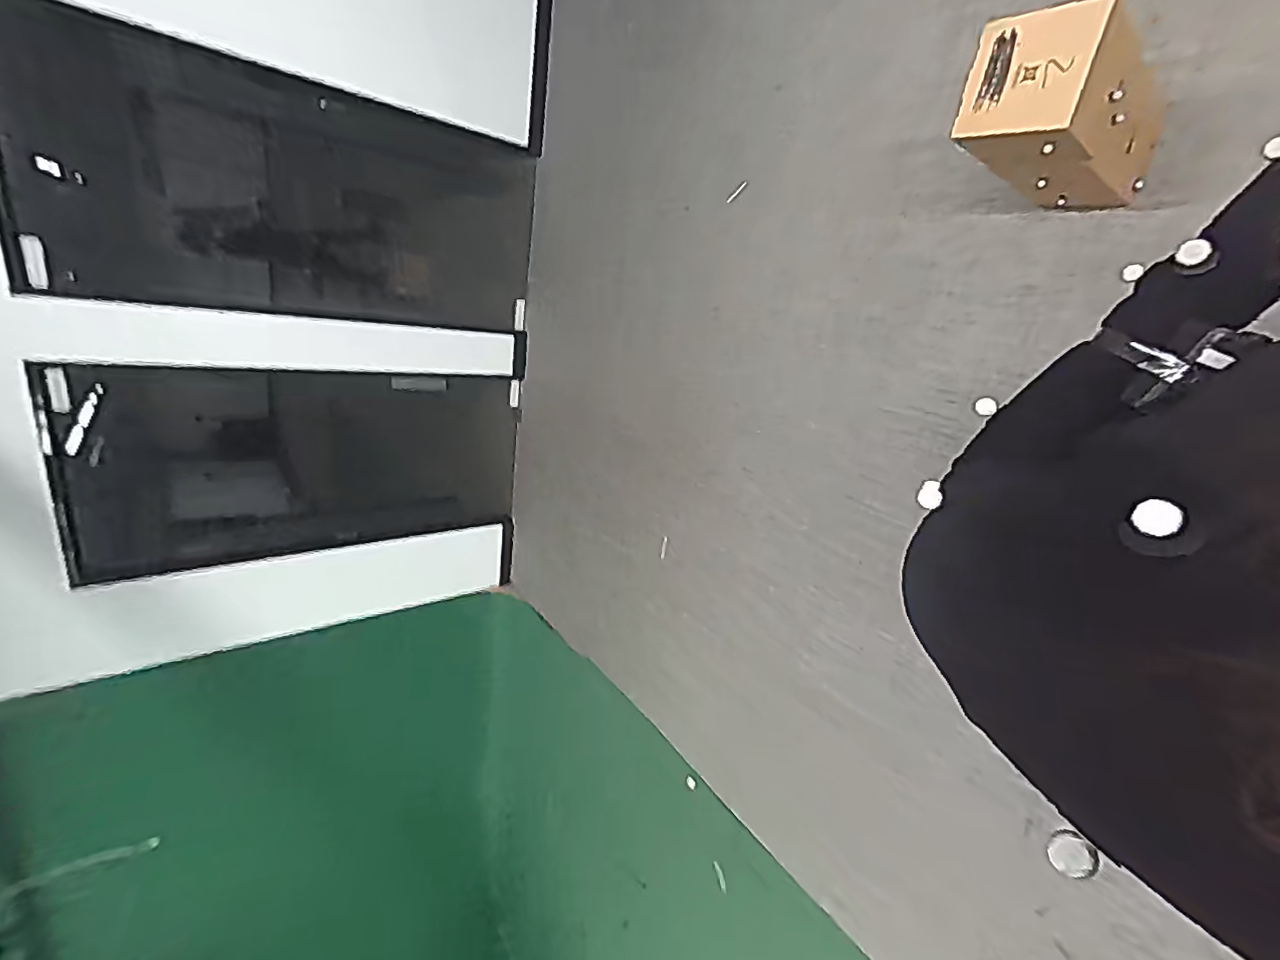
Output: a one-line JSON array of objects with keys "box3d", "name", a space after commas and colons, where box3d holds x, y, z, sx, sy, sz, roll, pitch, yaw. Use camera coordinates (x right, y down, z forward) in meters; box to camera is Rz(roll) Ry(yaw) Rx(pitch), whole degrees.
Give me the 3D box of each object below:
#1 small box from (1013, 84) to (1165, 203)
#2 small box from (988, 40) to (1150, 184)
[{"box3d": [0.908, -0.669, 1.093, 0.179, 0.176, 0.168, 31, 119, 46], "name": "small box"}, {"box3d": [0.784, -0.653, 0.987, 0.168, 0.176, 0.179, 31, 118, 45], "name": "small box"}]
